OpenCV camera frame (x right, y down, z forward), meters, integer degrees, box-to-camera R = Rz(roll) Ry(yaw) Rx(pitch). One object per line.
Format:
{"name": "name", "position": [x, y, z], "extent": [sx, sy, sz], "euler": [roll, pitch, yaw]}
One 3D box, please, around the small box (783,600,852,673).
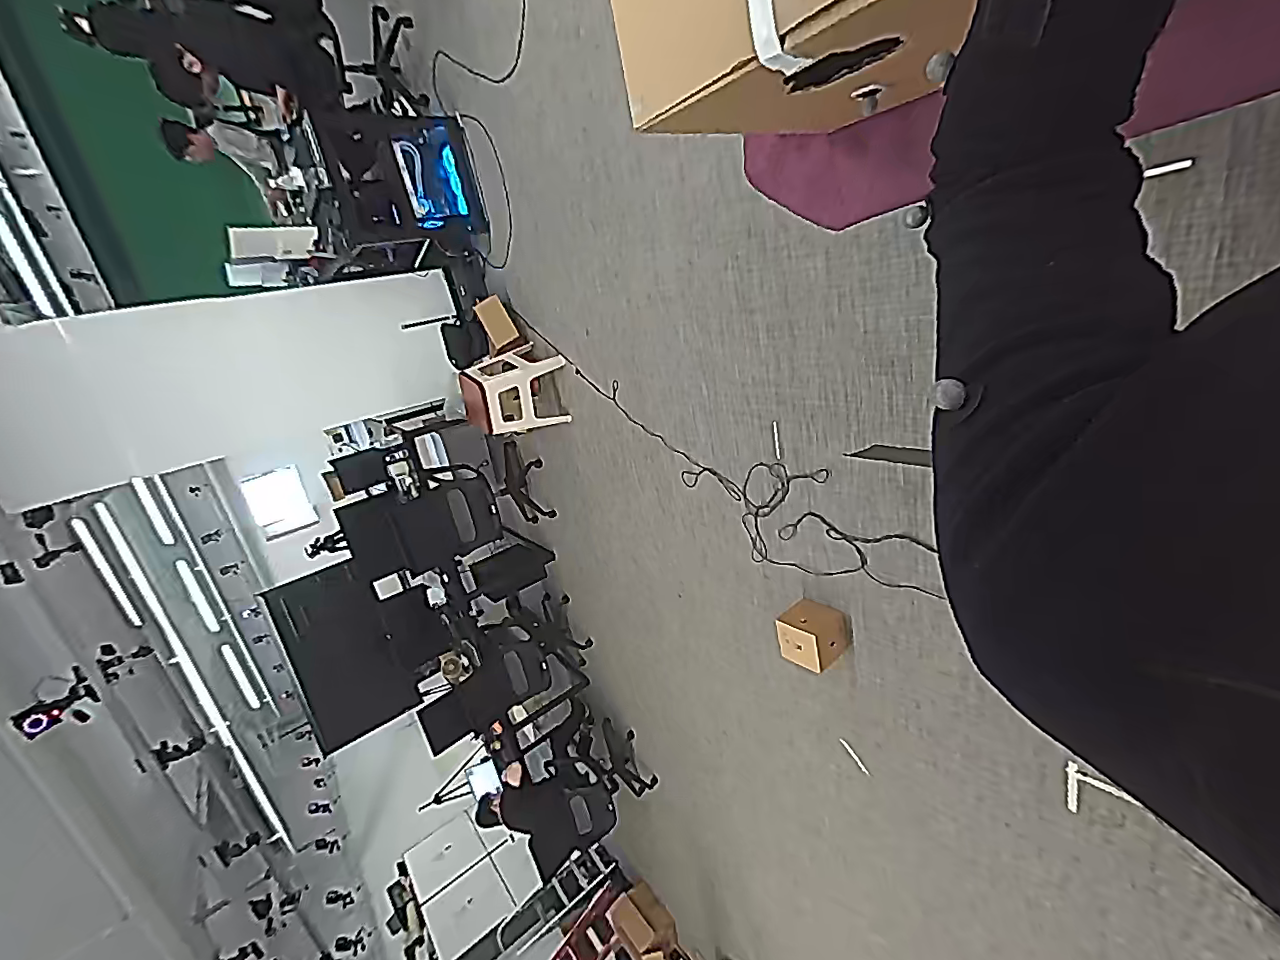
{"name": "small box", "position": [0.653, 0.561, 1.967], "extent": [0.179, 0.176, 0.168], "euler": [12, 121, 54]}
